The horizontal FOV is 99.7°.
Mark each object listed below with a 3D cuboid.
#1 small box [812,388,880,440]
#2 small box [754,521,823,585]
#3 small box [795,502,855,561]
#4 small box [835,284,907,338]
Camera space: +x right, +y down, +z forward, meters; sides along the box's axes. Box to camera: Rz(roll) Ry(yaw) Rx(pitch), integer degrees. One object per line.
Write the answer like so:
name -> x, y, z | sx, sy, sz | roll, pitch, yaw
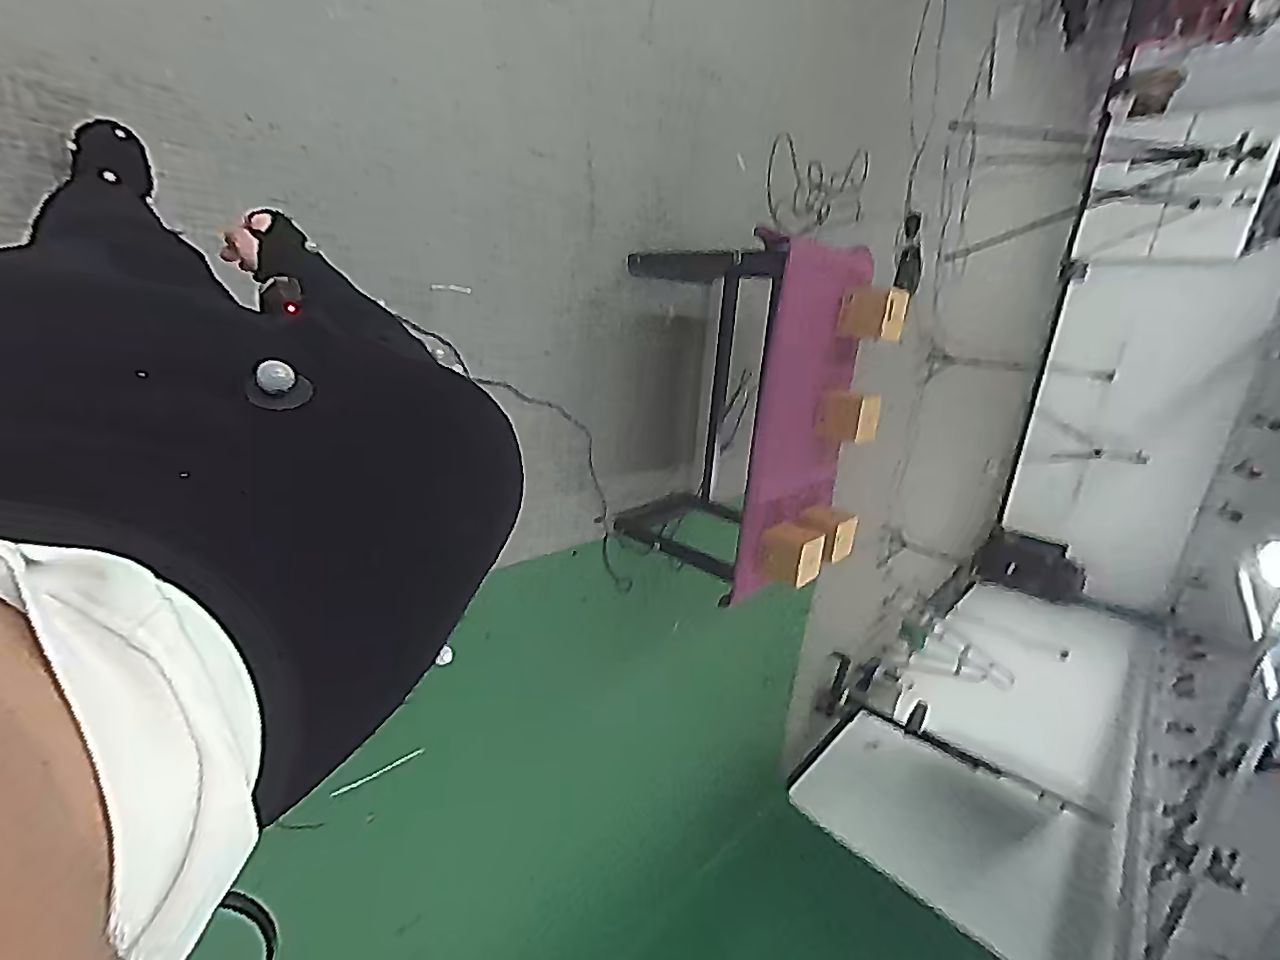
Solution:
small box -> 0.774, -0.254, 2.033 | 0.179, 0.176, 0.168 | -12, 113, -44
small box -> 0.541, 0.258, 1.970 | 0.179, 0.176, 0.168 | -12, 112, -45
small box -> 0.733, 0.199, 2.162 | 0.179, 0.176, 0.168 | -14, 114, -44
small box -> 0.828, -0.608, 1.946 | 0.179, 0.176, 0.168 | -10, 113, -44
